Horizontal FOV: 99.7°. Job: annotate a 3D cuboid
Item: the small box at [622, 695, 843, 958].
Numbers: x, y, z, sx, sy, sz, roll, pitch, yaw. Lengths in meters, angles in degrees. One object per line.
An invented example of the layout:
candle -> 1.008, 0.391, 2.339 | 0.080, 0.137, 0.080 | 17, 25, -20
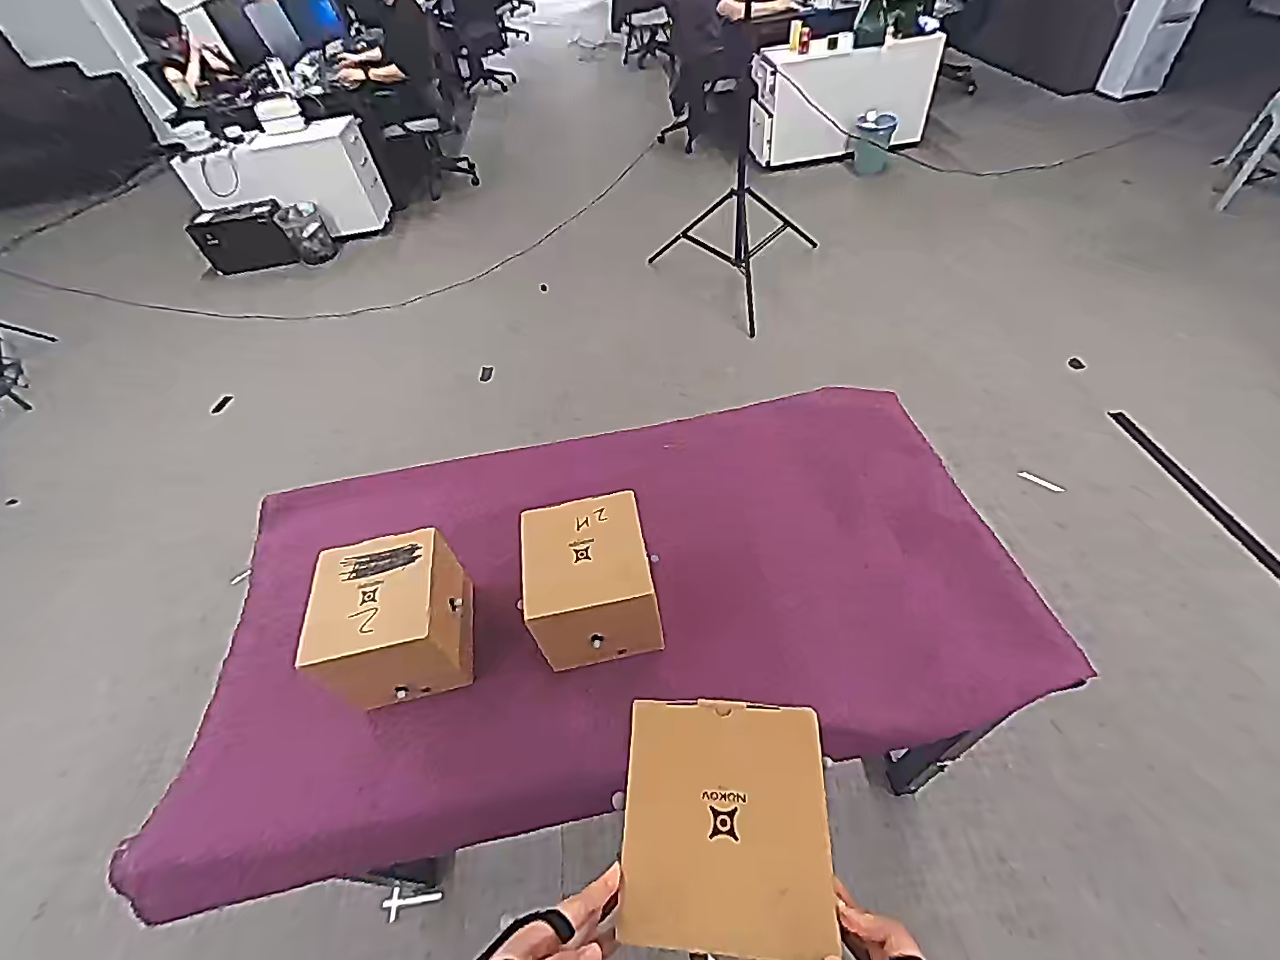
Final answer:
small box -> 0.084, 0.318, 0.510 | 0.168, 0.176, 0.179 | -1, 53, 8

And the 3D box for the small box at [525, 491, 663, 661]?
small box -> -0.065, 0.146, 0.785 | 0.168, 0.176, 0.179 | -11, 48, -2
